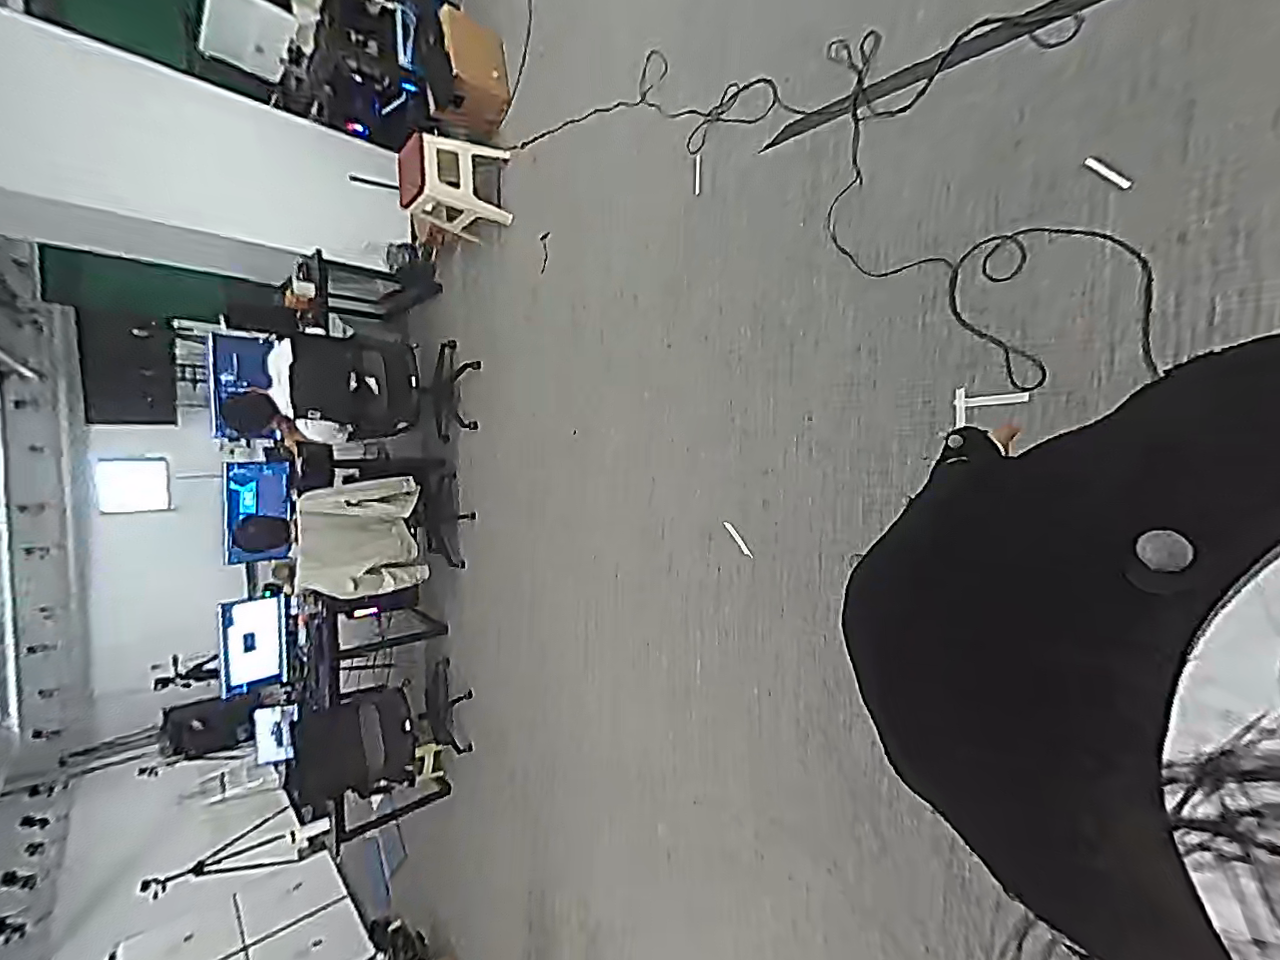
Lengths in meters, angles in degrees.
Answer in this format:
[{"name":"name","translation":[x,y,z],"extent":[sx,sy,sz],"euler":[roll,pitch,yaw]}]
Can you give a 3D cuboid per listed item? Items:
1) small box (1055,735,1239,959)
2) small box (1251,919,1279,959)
[{"name":"small box","translation":[0.678,0.478,0.724],"extent":[0.168,0.176,0.179],"euler":[1,90,47]},{"name":"small box","translation":[0.800,0.656,0.595],"extent":[0.168,0.176,0.179],"euler":[4,93,46]}]
